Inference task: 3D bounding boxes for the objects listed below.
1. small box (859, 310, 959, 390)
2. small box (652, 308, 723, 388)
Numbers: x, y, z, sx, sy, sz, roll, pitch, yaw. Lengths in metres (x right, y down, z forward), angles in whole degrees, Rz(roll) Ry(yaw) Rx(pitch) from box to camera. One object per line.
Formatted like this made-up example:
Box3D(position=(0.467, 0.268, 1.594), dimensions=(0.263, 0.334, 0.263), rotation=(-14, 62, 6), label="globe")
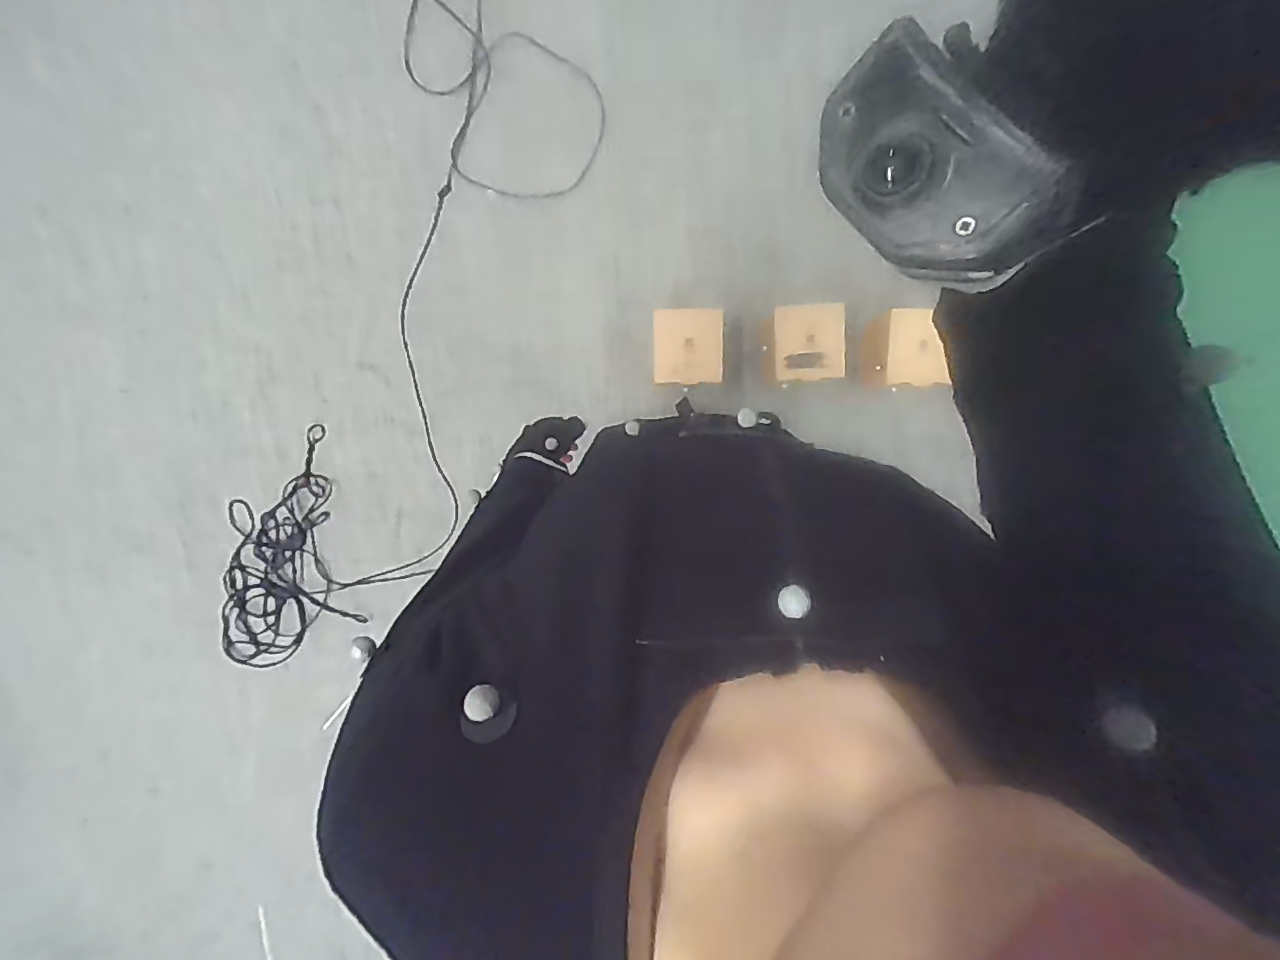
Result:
Box3D(position=(0.662, -0.319, 1.348), dimensions=(0.168, 0.176, 0.179), rotation=(0, 97, 1), label="small box")
Box3D(position=(0.113, -0.325, 1.354), dimensions=(0.168, 0.176, 0.179), rotation=(0, 97, 2), label="small box")
